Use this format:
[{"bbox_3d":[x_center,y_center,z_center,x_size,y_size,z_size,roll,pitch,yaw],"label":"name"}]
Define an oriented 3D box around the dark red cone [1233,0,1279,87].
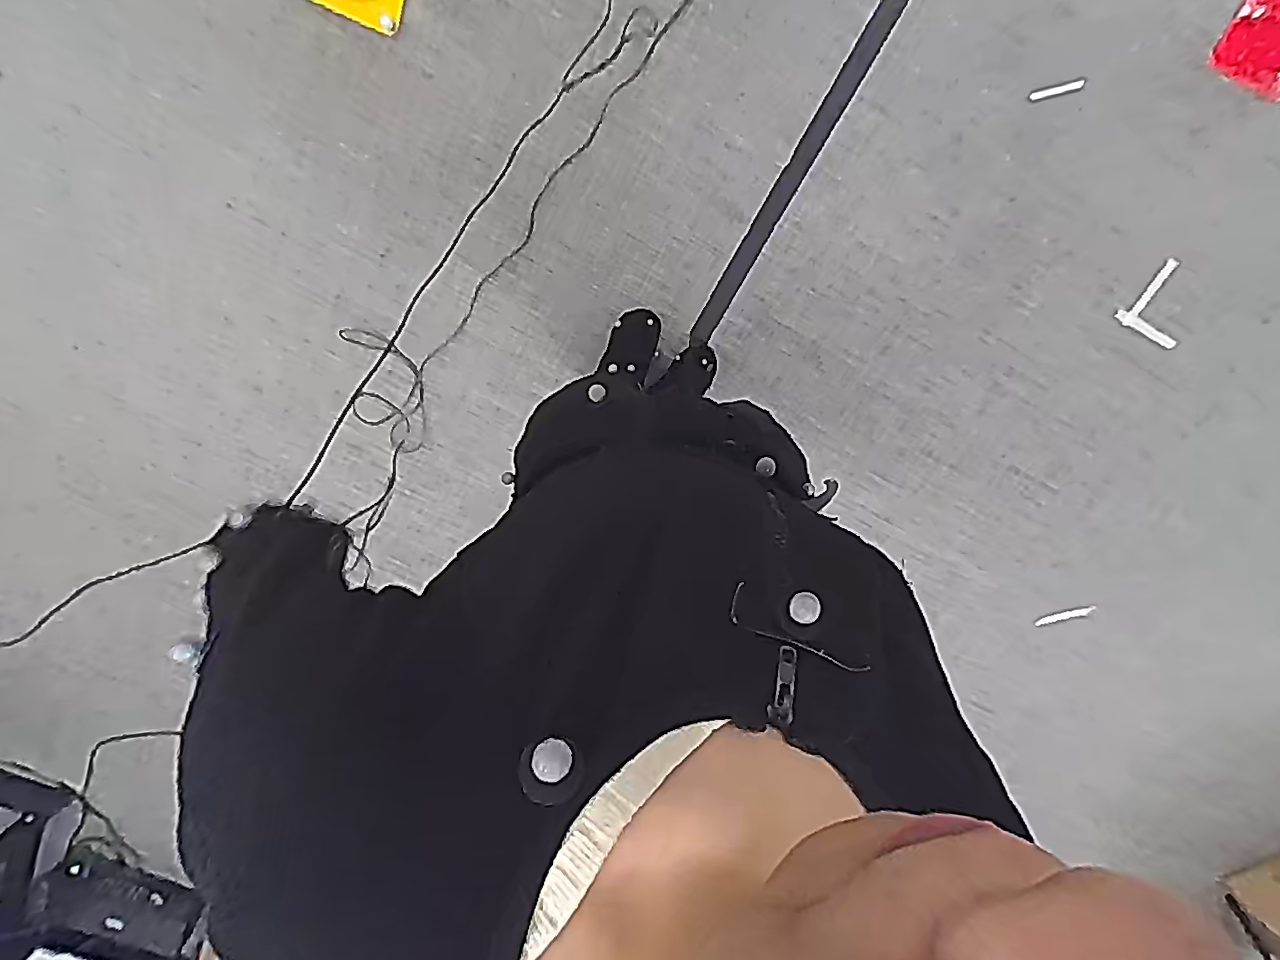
[{"bbox_3d":[1.276,-0.837,0.889,0.201,0.394,0.202,21,108,-5],"label":"dark red cone"}]
